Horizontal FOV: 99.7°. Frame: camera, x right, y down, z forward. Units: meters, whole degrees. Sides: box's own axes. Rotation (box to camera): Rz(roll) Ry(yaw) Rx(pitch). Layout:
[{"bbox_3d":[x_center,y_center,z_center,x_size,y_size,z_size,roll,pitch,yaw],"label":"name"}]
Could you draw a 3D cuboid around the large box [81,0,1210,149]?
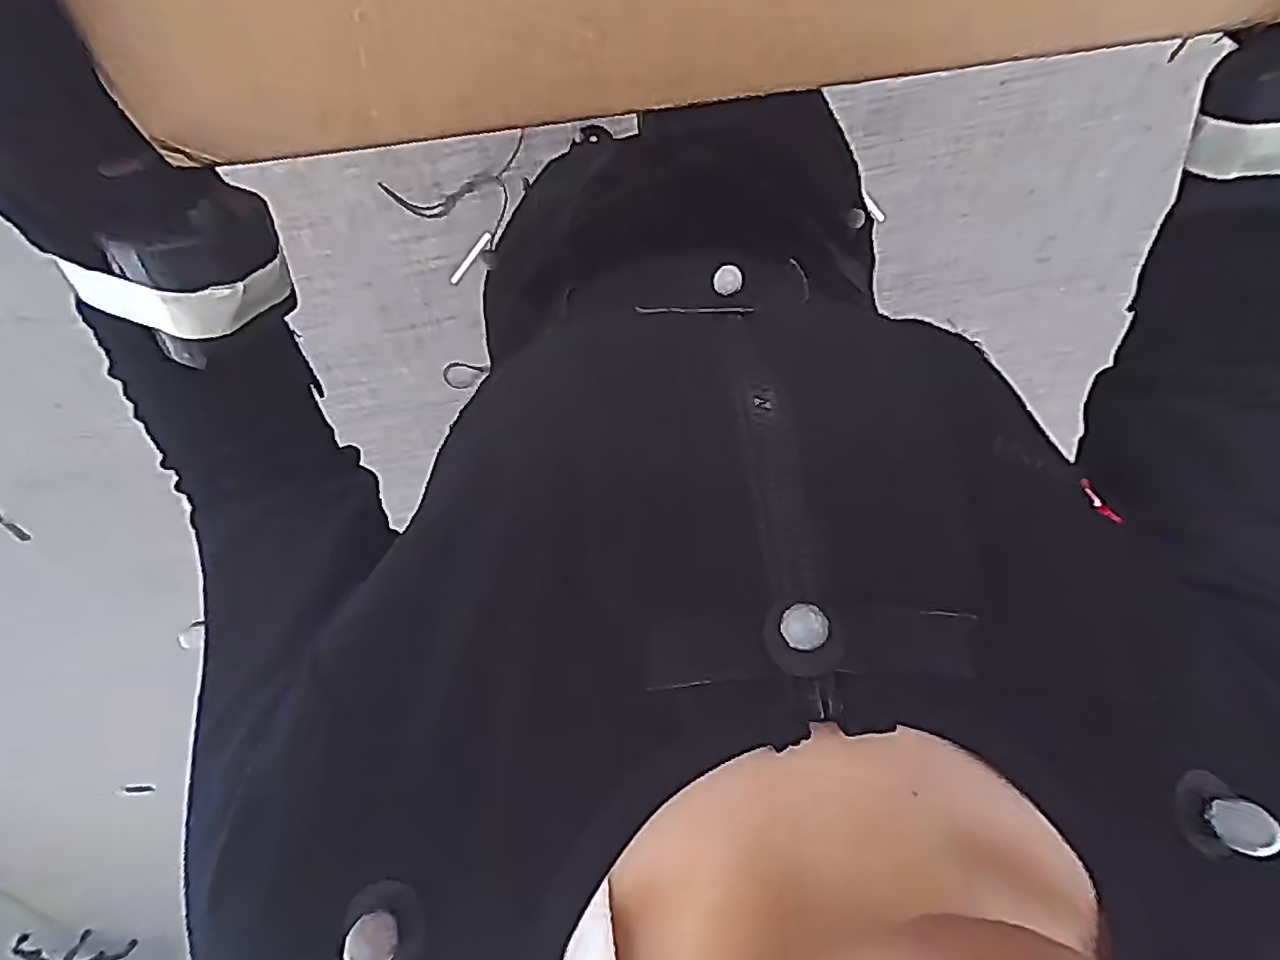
[{"bbox_3d":[-0.002,-0.359,0.160,0.408,0.320,0.320,-6,145,1],"label":"large box"}]
